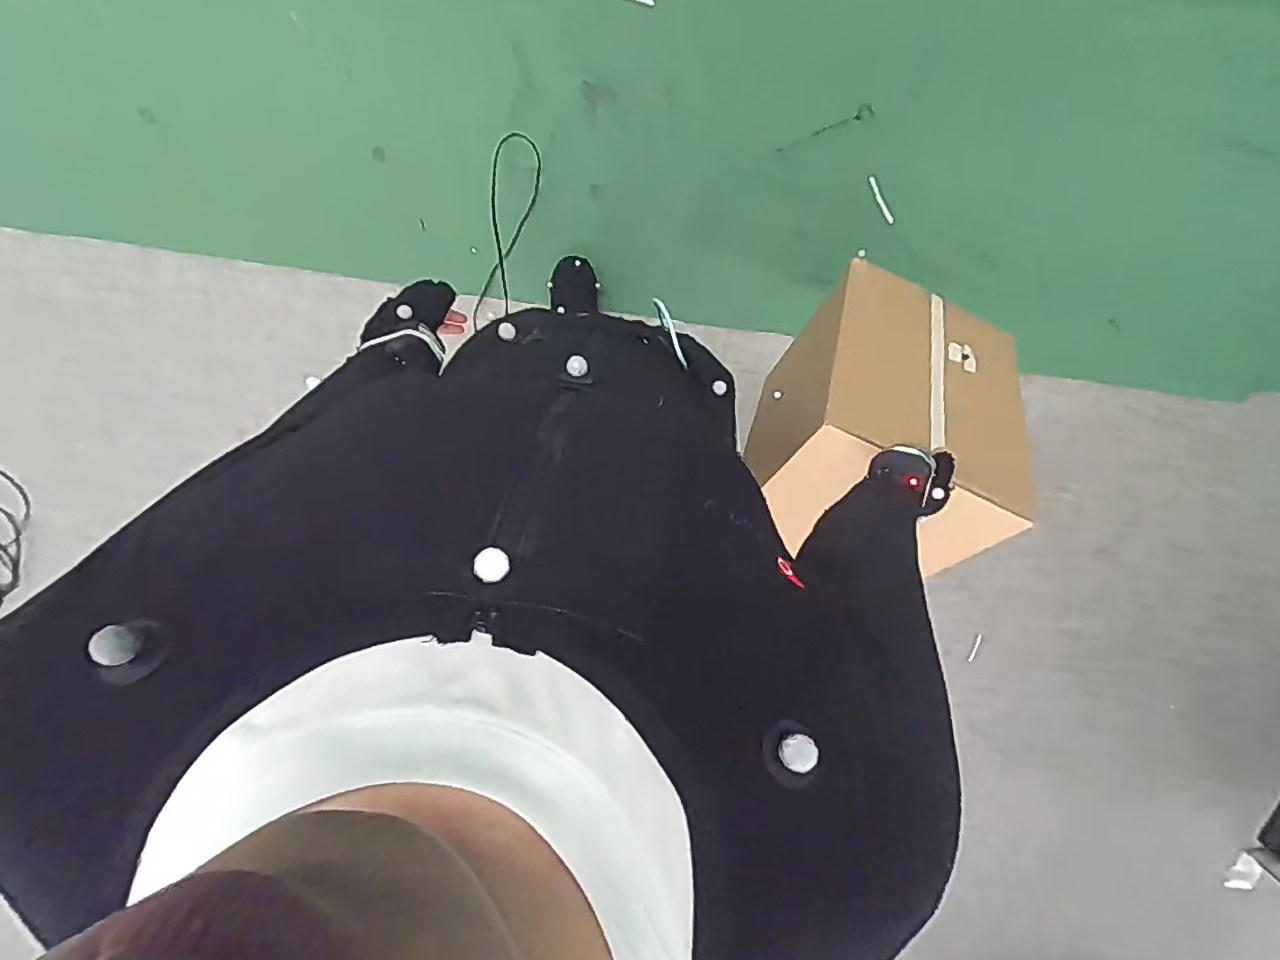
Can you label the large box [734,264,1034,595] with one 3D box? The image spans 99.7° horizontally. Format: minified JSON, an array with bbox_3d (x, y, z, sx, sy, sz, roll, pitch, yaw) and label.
[{"bbox_3d":[0.393,-0.078,0.928,0.320,0.408,0.320,25,145,-4],"label":"large box"}]
